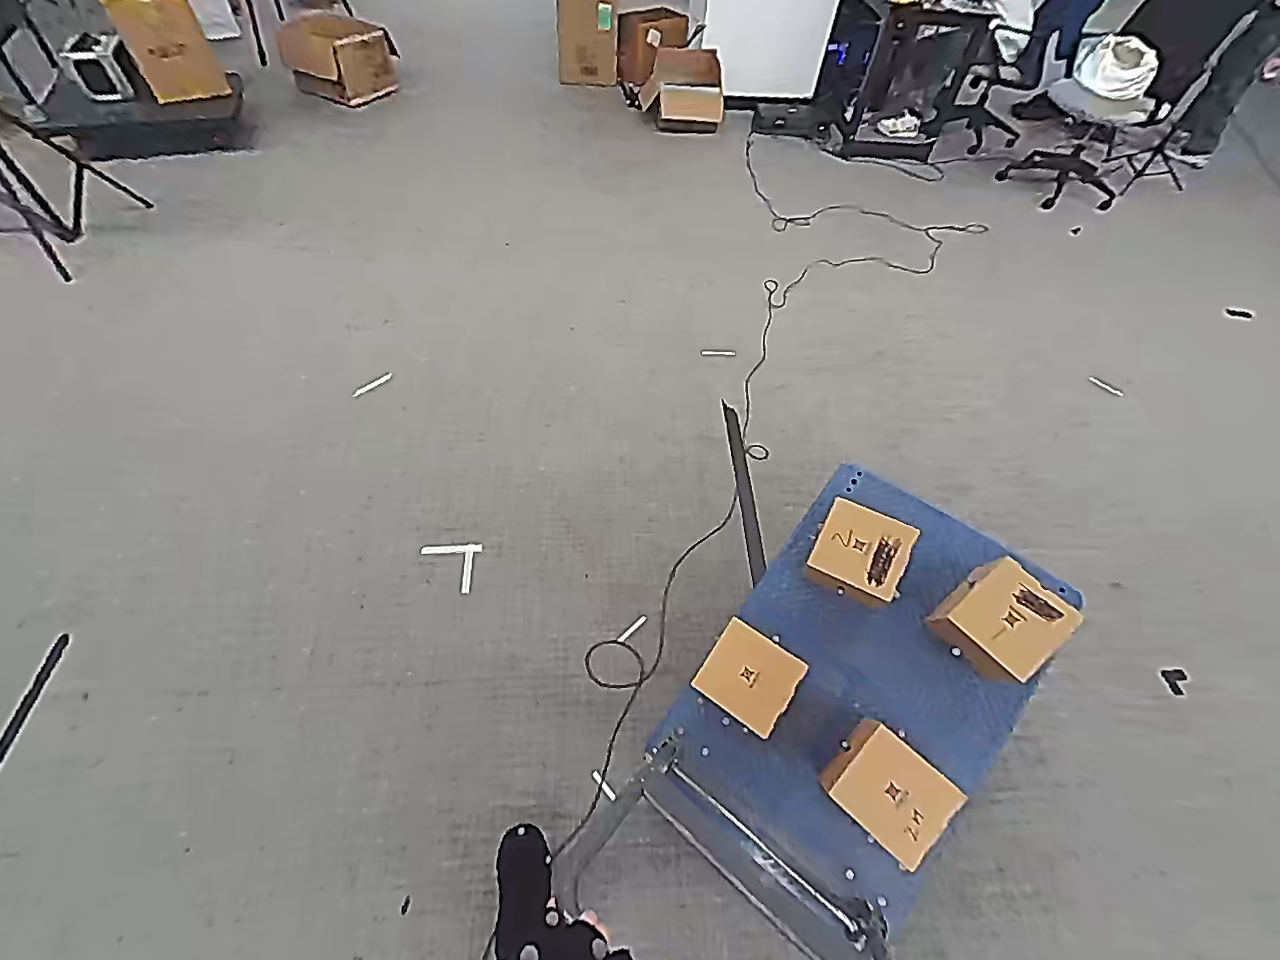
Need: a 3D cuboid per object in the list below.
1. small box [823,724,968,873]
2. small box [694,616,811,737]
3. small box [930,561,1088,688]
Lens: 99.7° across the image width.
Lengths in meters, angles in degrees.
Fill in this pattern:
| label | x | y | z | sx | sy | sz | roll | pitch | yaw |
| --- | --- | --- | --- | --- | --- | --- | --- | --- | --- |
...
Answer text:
| label | x | y | z | sx | sy | sz | roll | pitch | yaw |
| --- | --- | --- | --- | --- | --- | --- | --- | --- | --- |
| small box | 0.474 | 0.593 | 1.037 | 0.179 | 0.176 | 0.168 | 40 | 83 | 22 |
| small box | 0.235 | 0.416 | 1.150 | 0.179 | 0.176 | 0.168 | 32 | 80 | 19 |
| small box | 0.727 | 0.292 | 1.092 | 0.179 | 0.176 | 0.168 | -42 | 68 | -4 |
